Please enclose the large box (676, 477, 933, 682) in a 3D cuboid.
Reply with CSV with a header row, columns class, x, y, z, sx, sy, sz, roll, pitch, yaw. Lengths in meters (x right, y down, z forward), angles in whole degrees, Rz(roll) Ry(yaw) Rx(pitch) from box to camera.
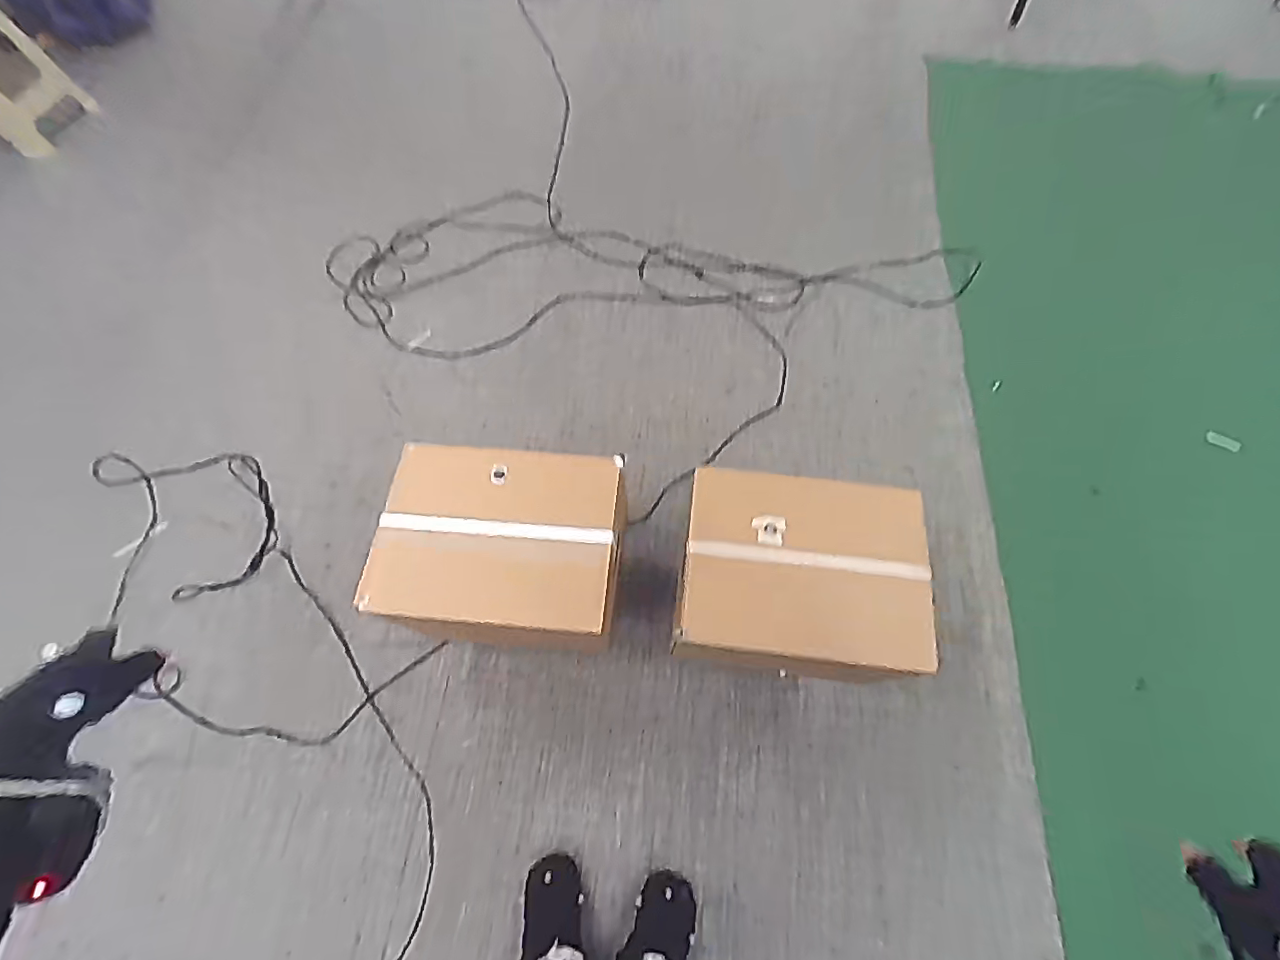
class,x,y,z,sx,sy,sz,roll,pitch,yaw
large box,0.290,0.210,1.061,0.408,0.320,0.320,7,66,4
